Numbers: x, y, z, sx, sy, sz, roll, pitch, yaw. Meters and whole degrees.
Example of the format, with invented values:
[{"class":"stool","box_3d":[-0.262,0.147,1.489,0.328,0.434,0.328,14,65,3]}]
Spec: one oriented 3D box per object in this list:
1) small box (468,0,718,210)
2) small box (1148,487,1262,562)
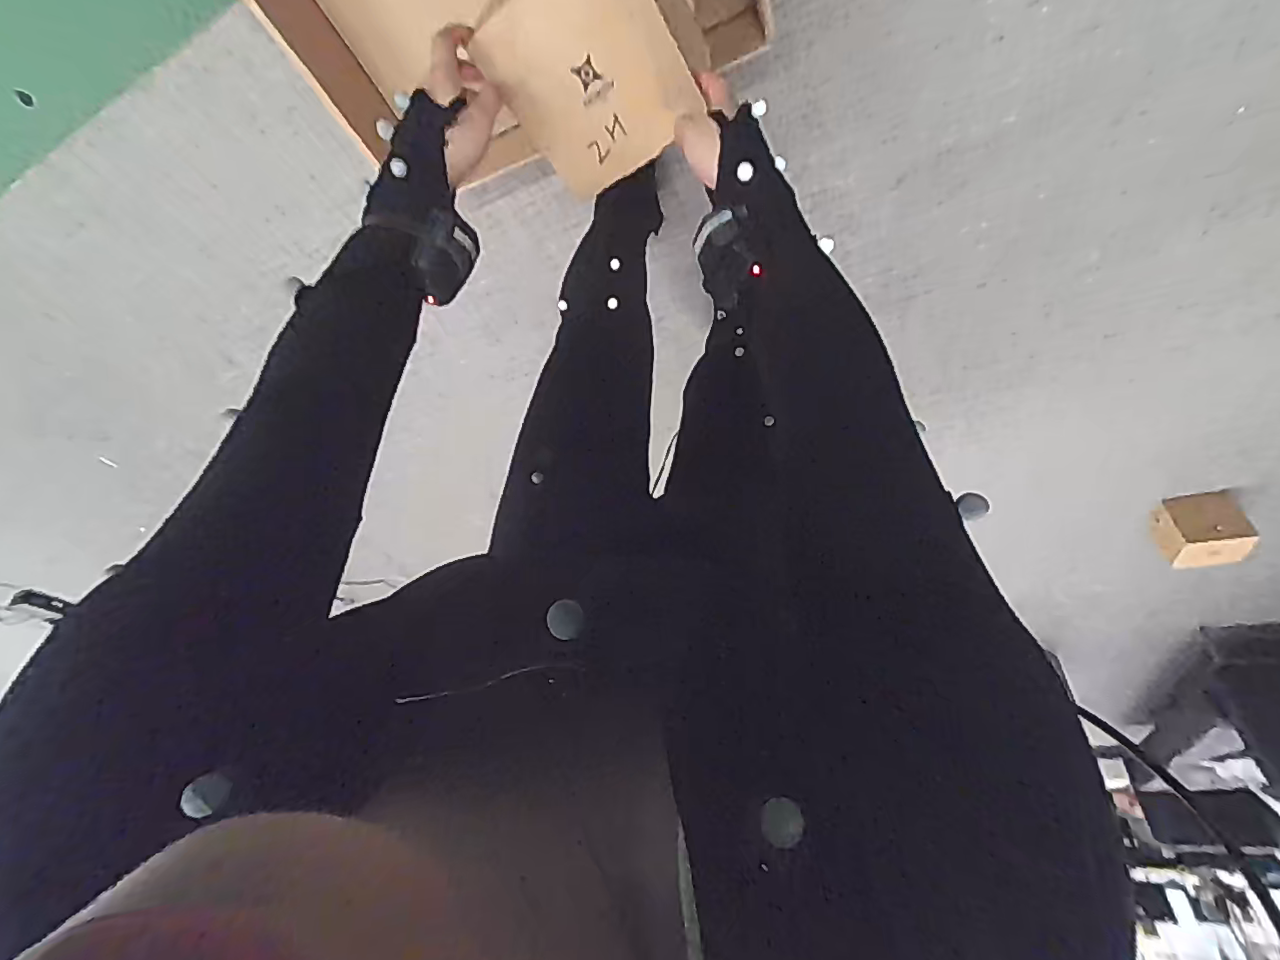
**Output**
[{"class":"small box","box_3d":[-0.037,-0.424,0.539,0.168,0.176,0.179,-19,142,30]},{"class":"small box","box_3d":[1.779,0.140,1.715,0.179,0.176,0.168,-12,140,22]}]
